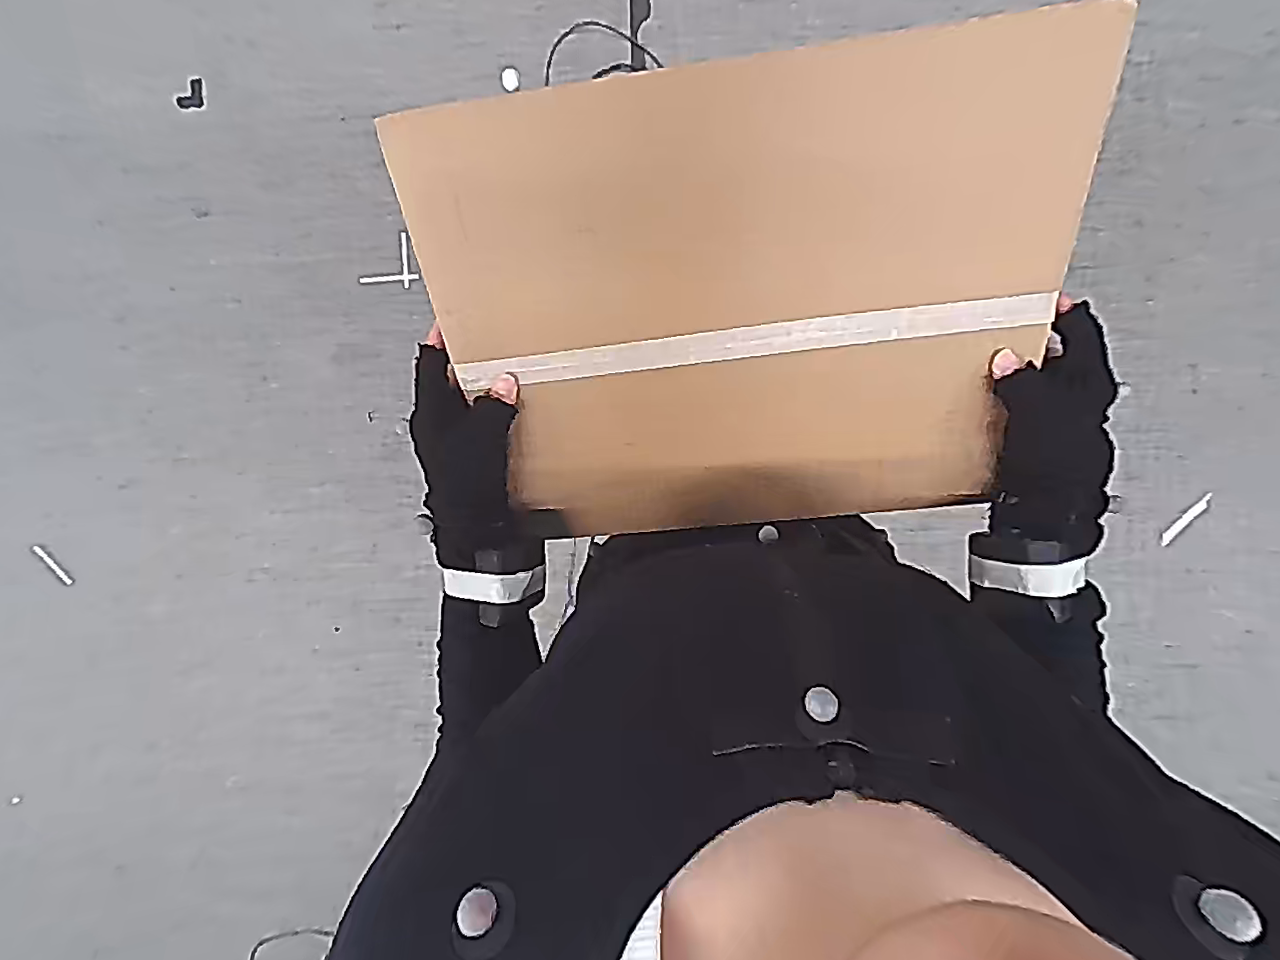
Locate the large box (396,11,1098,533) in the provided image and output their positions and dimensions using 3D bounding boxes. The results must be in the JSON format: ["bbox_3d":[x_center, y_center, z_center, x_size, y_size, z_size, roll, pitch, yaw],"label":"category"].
[{"bbox_3d":[0.070,-0.179,0.508,0.408,0.320,0.320,-5,124,5],"label":"large box"}]
